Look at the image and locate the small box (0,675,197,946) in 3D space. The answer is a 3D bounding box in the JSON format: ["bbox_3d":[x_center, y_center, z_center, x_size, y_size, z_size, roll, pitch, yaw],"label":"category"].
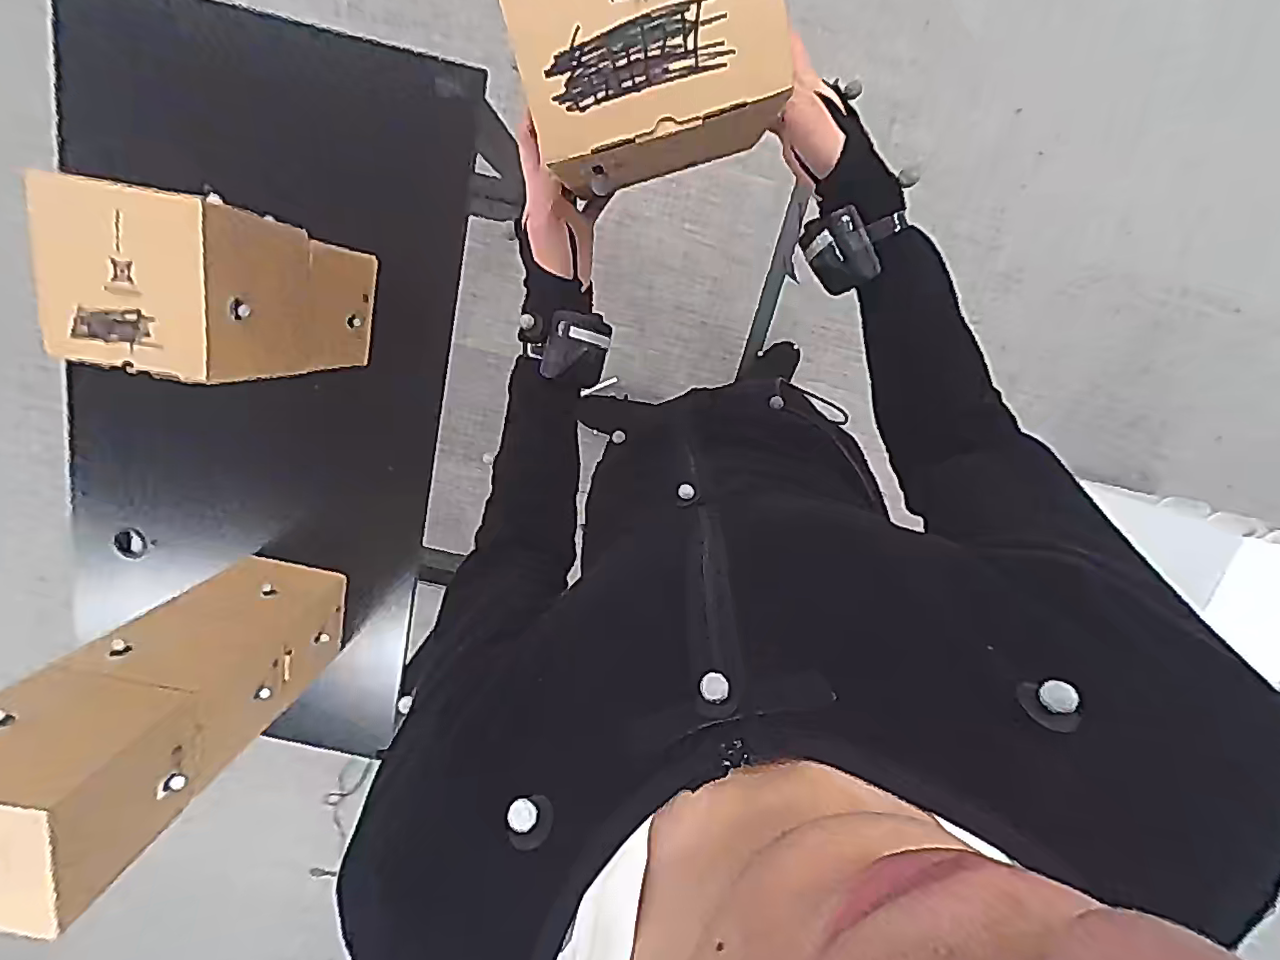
[{"bbox_3d":[-0.626,0.334,0.575,0.179,0.176,0.168,12,106,-2],"label":"small box"}]

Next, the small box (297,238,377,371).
[{"bbox_3d":[-0.503,-0.254,0.758,0.179,0.176,0.168,13,105,-2],"label":"small box"}]

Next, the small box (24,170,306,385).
[{"bbox_3d":[-0.500,-0.211,0.599,0.168,0.176,0.179,9,104,-2],"label":"small box"}]

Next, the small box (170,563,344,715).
[{"bbox_3d":[-0.618,0.252,0.892,0.179,0.176,0.168,11,104,-2],"label":"small box"}]

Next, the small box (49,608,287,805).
[{"bbox_3d":[-0.623,0.293,0.733,0.179,0.176,0.168,12,105,-2],"label":"small box"}]
